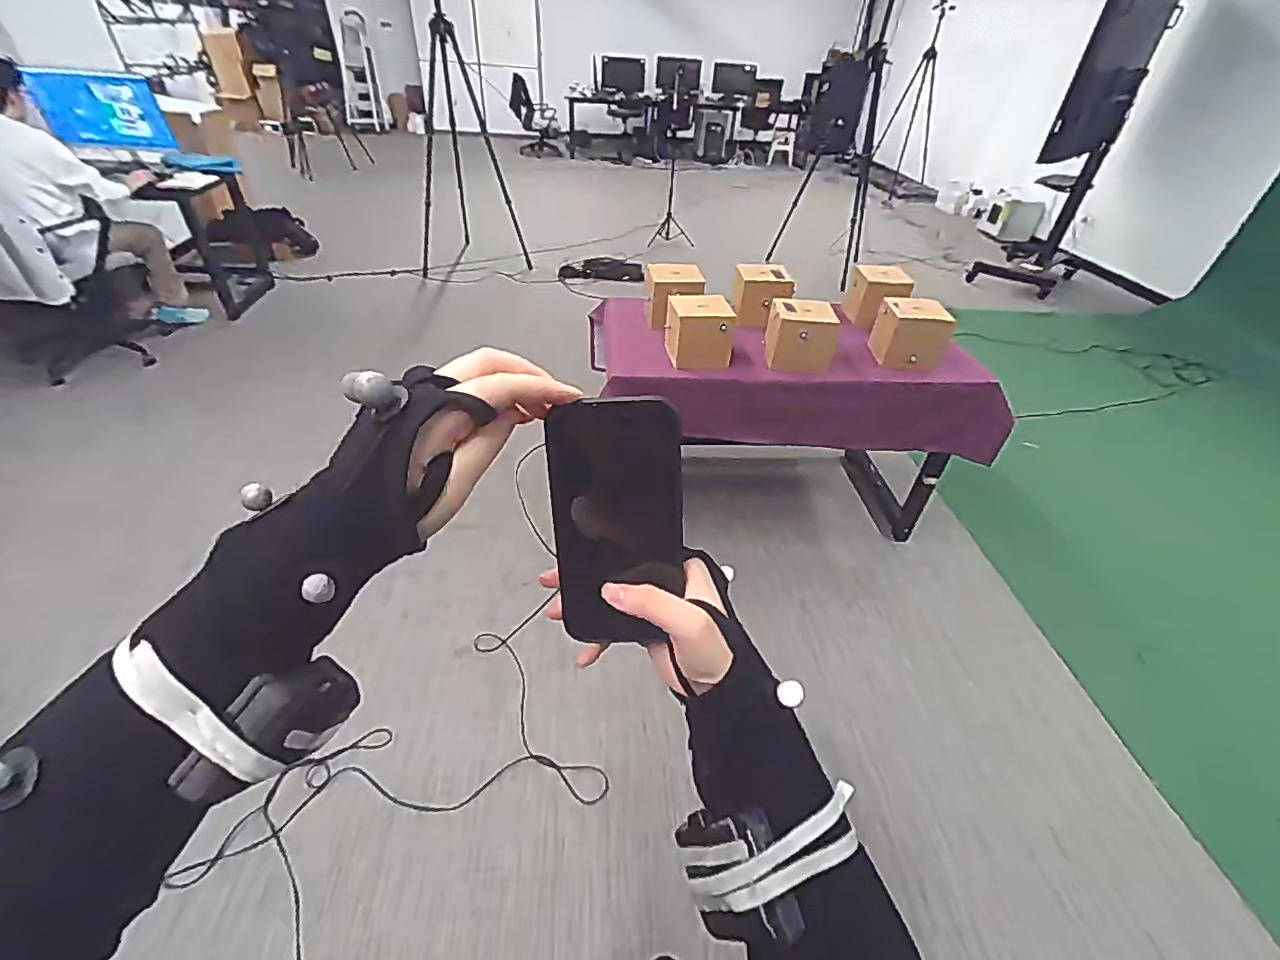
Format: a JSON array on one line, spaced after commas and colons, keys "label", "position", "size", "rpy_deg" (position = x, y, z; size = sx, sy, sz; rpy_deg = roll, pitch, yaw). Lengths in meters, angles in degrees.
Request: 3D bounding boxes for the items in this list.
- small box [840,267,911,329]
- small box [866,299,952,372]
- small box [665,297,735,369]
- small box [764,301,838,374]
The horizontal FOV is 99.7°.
[{"label": "small box", "position": [0.854, -0.663, 1.979], "size": [0.168, 0.176, 0.179], "rpy_deg": [2, 40, -2]}, {"label": "small box", "position": [0.857, -0.462, 1.739], "size": [0.179, 0.176, 0.168], "rpy_deg": [5, 39, 0]}, {"label": "small box", "position": [0.177, -0.452, 1.668], "size": [0.179, 0.176, 0.168], "rpy_deg": [-3, 40, -10]}, {"label": "small box", "position": [0.490, -0.442, 1.683], "size": [0.179, 0.176, 0.168], "rpy_deg": [5, 40, -1]}]
